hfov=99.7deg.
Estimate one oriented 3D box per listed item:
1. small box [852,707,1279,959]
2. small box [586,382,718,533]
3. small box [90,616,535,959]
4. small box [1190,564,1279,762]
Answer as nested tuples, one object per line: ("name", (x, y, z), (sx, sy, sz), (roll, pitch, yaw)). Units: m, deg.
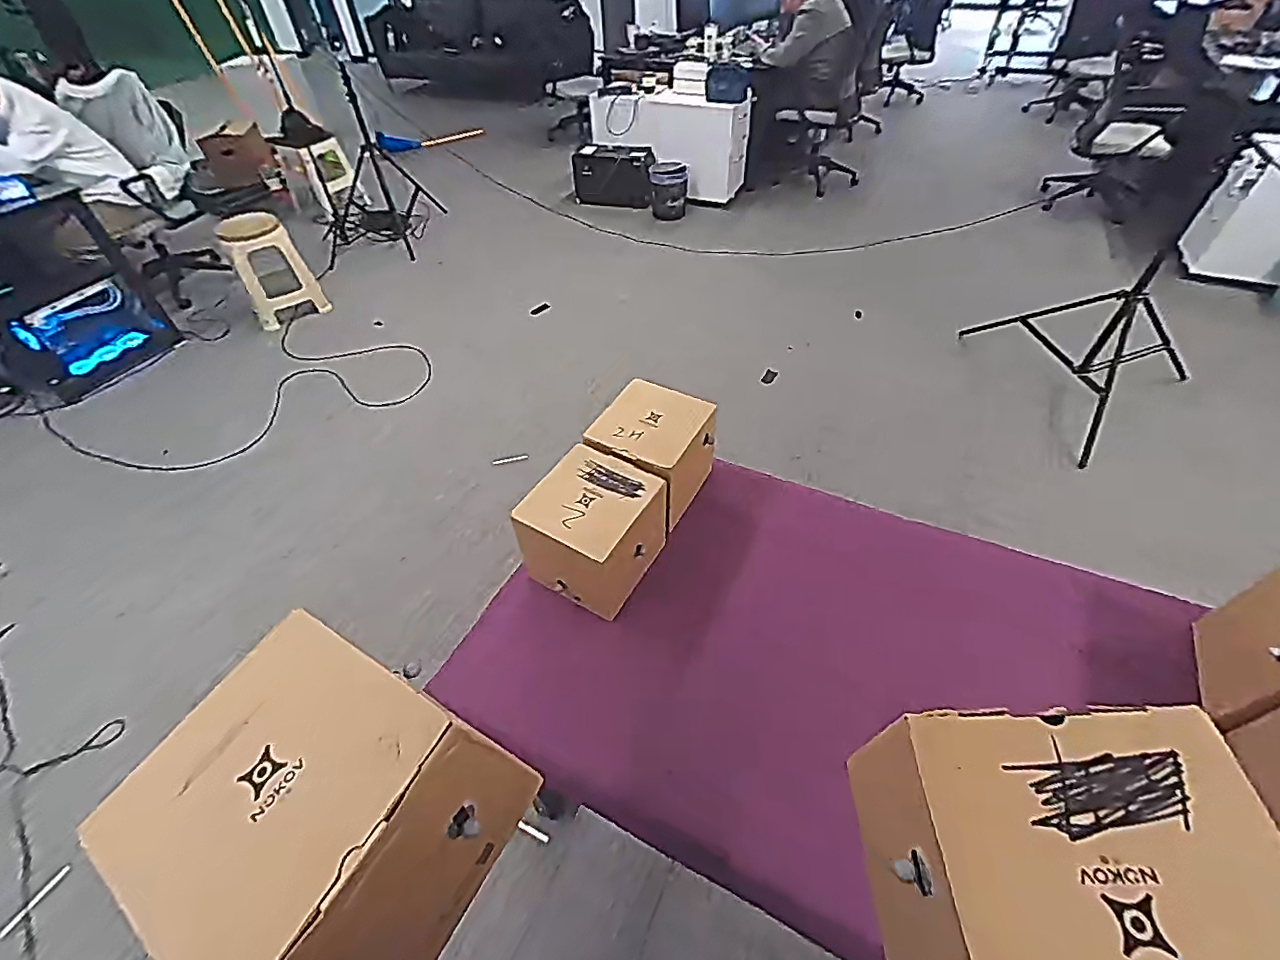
("small box", (0.245, 0.252, 0.331), (0.168, 0.176, 0.179), (-4, 54, 4))
("small box", (0.022, -0.041, 0.965), (0.168, 0.176, 0.179), (22, 52, 21))
("small box", (-0.204, 0.233, 0.385), (0.179, 0.176, 0.168), (18, 56, 27))
("small box", (0.846, 0.244, 0.675), (0.168, 0.176, 0.179), (23, 51, 20))
